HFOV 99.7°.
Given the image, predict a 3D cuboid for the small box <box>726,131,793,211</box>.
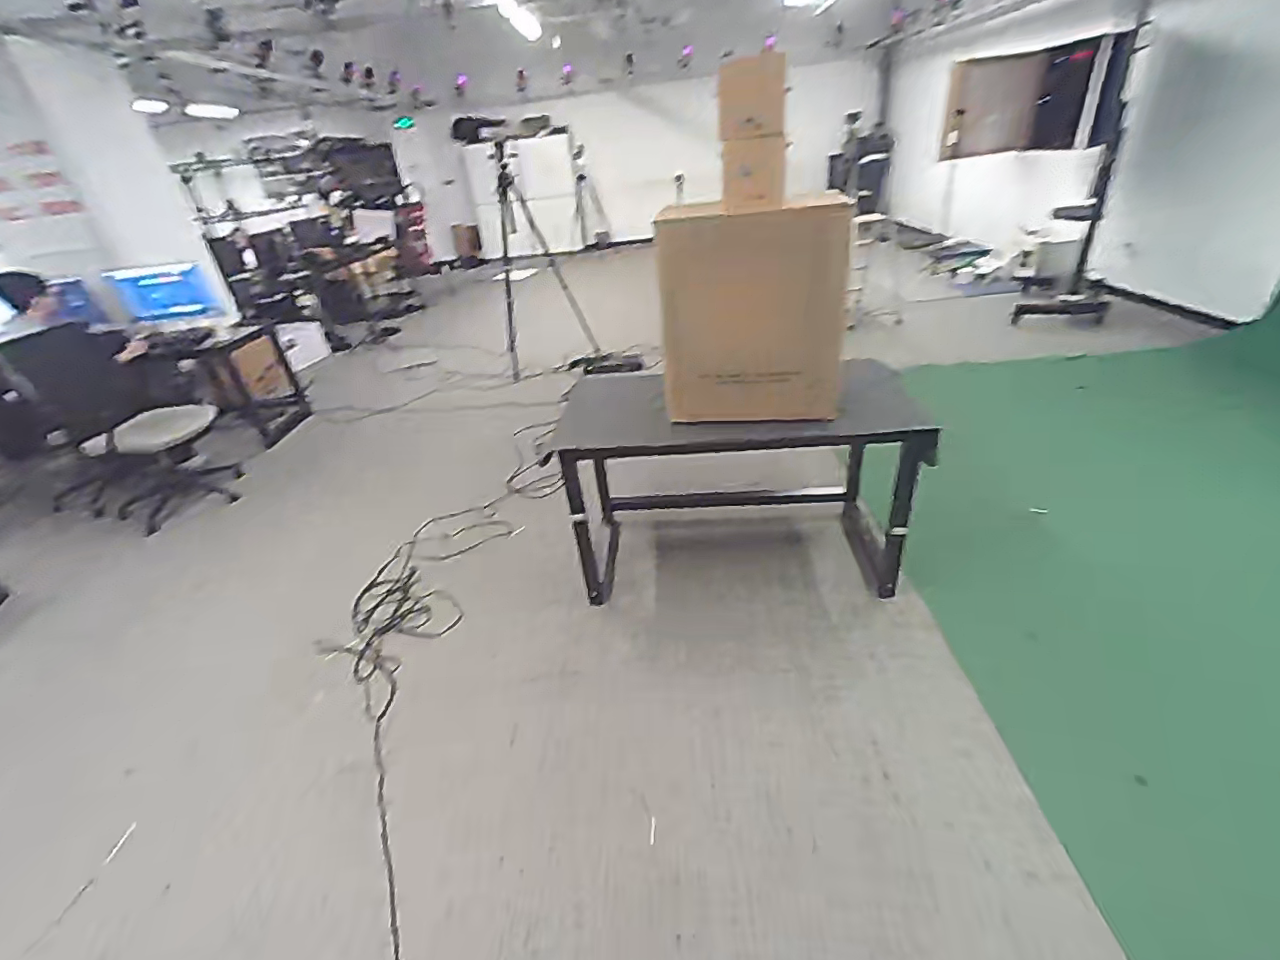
[{"bbox_3d":[0.330,-0.842,1.480,0.168,0.176,0.179,3,34,15],"label":"small box"}]
